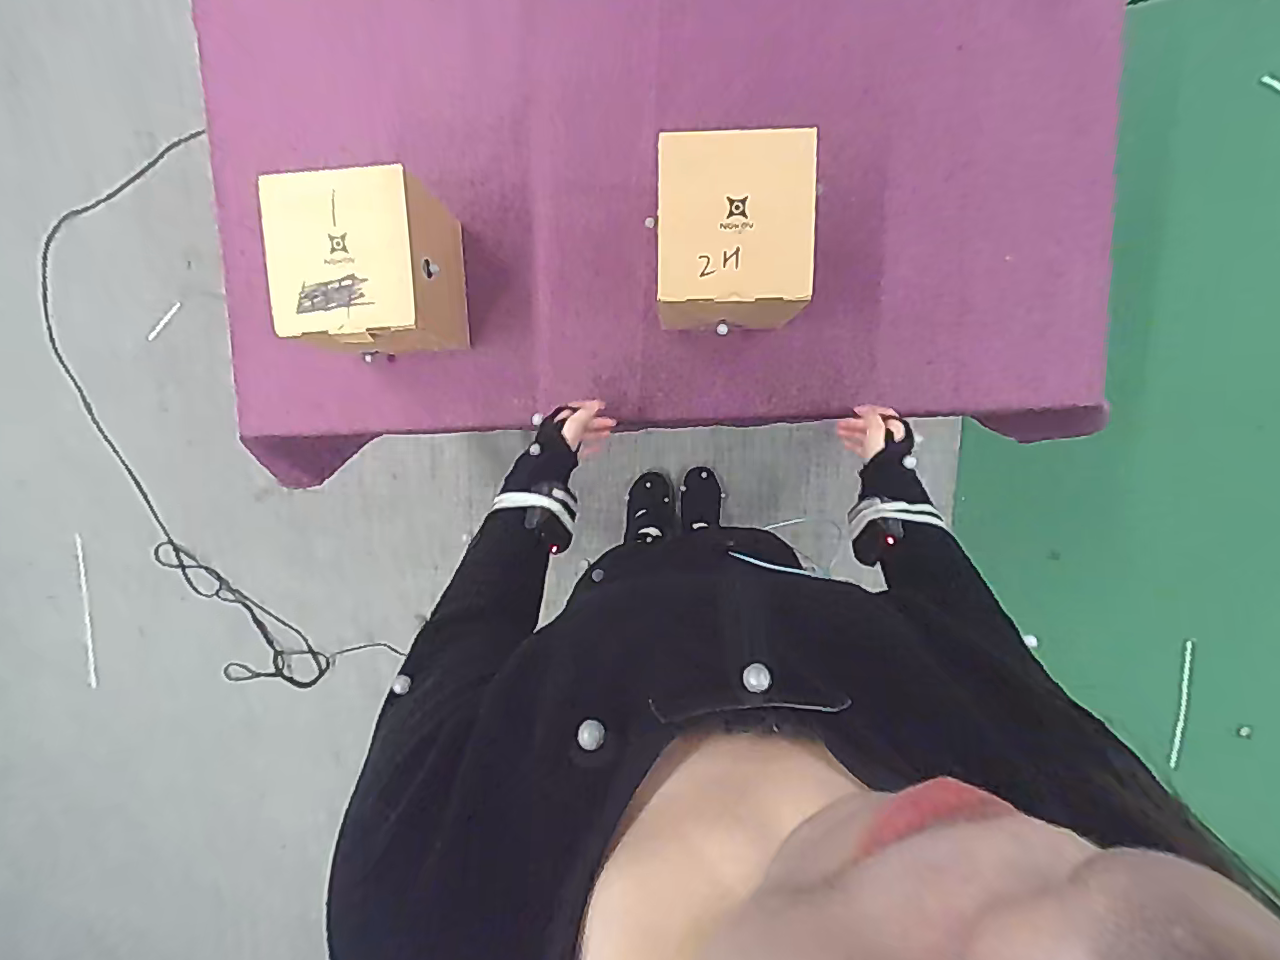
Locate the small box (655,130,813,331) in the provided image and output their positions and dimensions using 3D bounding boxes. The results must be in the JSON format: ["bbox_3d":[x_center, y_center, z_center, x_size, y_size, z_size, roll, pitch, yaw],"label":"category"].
[{"bbox_3d":[0.102,-0.285,0.650,0.168,0.176,0.179,0,96,4],"label":"small box"}]

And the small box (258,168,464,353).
[{"bbox_3d":[-0.331,-0.257,0.677,0.168,0.176,0.179,-3,94,3],"label":"small box"}]
